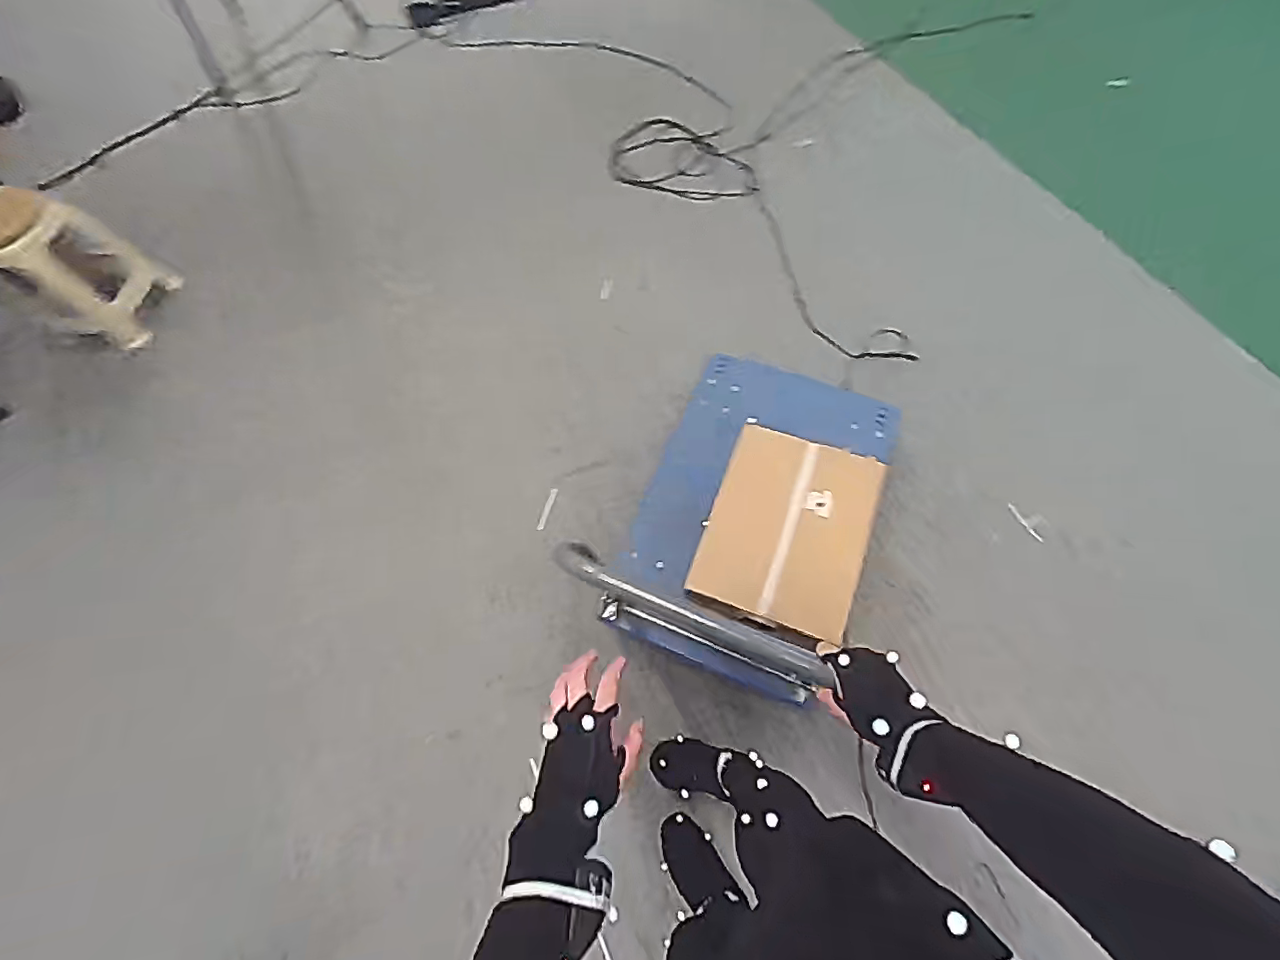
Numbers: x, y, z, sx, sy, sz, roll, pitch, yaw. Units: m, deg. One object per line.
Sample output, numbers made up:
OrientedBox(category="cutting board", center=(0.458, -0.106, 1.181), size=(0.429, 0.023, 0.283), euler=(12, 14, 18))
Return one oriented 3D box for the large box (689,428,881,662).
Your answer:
OrientedBox(category="large box", center=(0.315, 0.159, 1.248), size=(0.320, 0.320, 0.408), euler=(19, 68, 11))
